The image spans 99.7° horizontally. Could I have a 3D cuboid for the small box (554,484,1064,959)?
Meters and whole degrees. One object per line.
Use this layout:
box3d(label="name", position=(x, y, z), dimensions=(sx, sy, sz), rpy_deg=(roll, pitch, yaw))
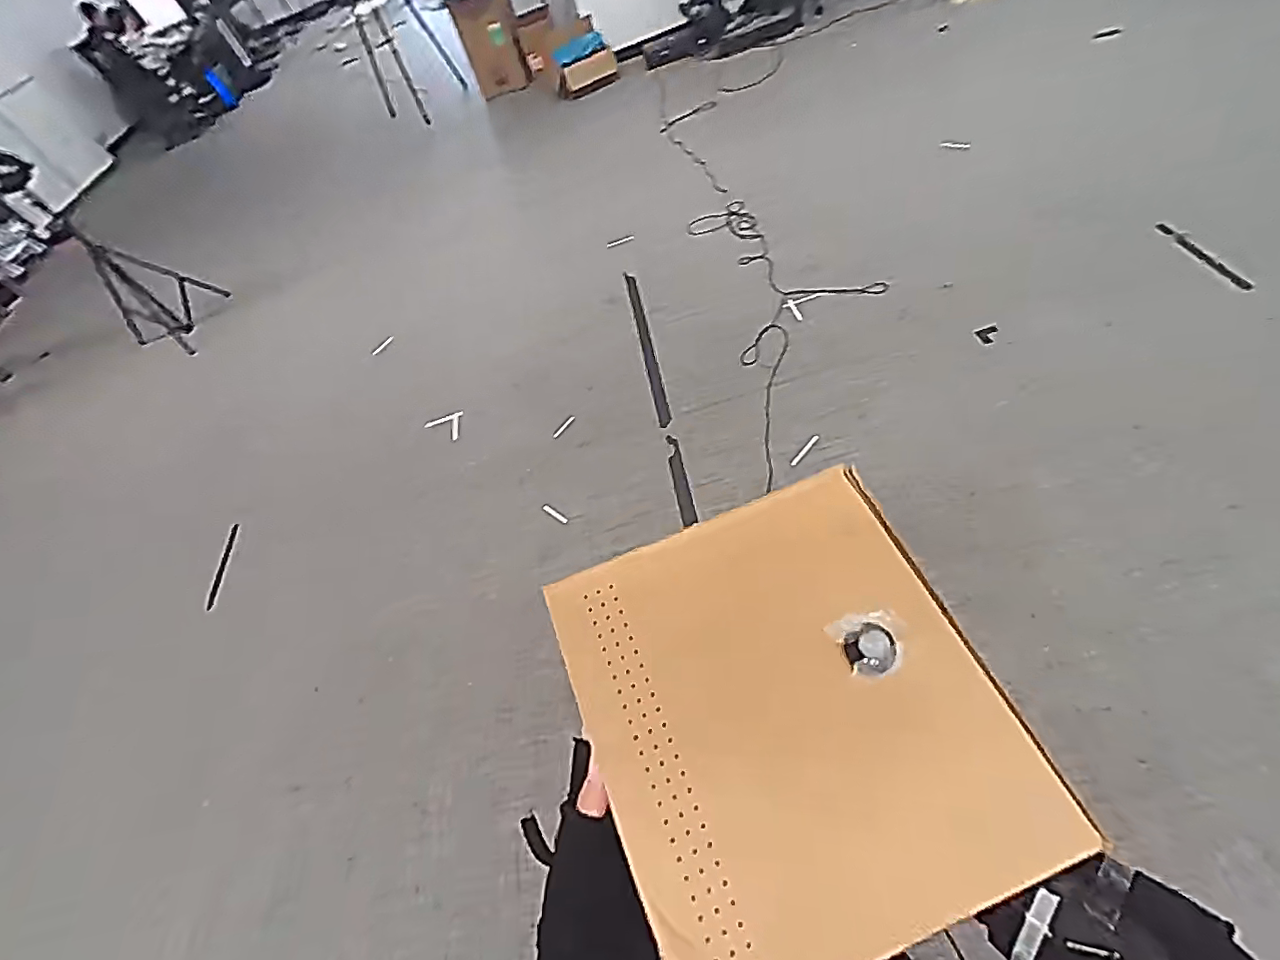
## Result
box3d(label="small box", position=(0.064, 0.136, 0.307), dimensions=(0.176, 0.168, 0.179), rpy_deg=(-22, 62, -4))
